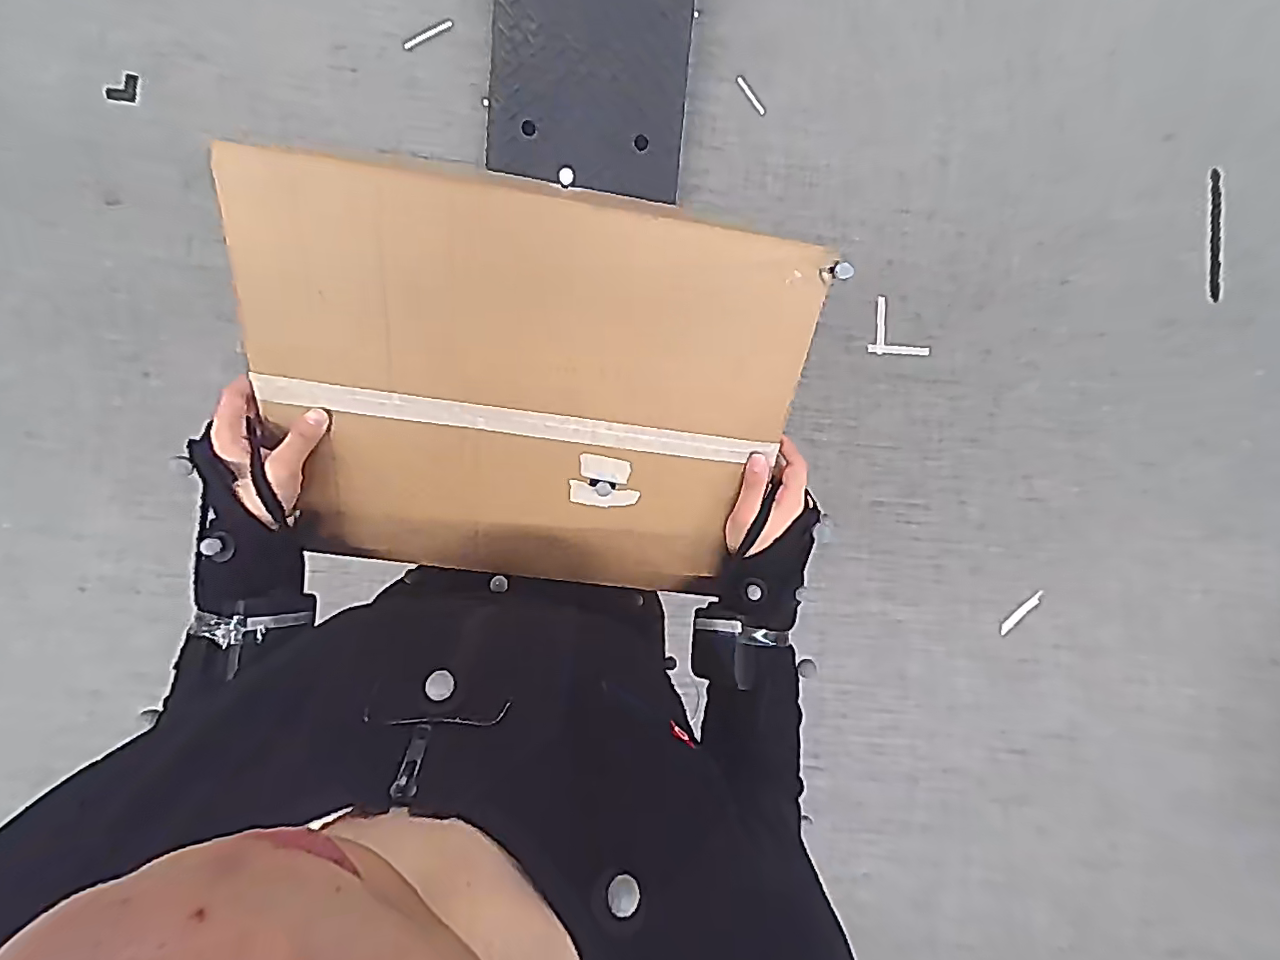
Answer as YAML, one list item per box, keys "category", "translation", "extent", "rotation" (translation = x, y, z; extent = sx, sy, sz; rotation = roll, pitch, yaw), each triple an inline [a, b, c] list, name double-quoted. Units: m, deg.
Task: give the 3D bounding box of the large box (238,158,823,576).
- category: "large box"
  translation: [-0.092, -0.128, 0.567]
  extent: [0.408, 0.320, 0.320]
  rotation: [6, 120, -6]
